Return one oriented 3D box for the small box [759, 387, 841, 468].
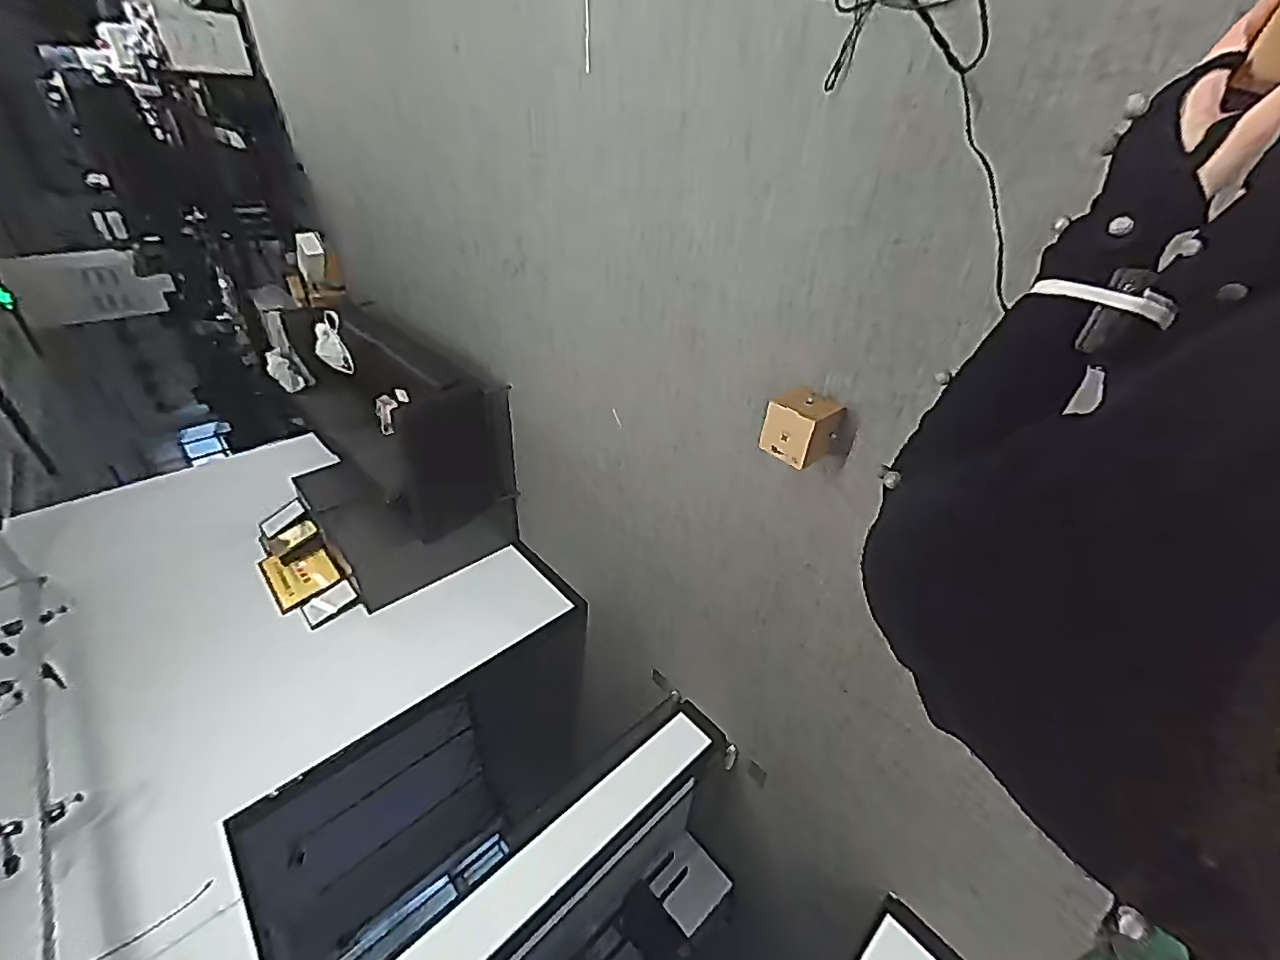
[{"bbox_3d":[0.506,-0.172,1.700,0.168,0.176,0.179,37,136,34],"label":"small box"}]
